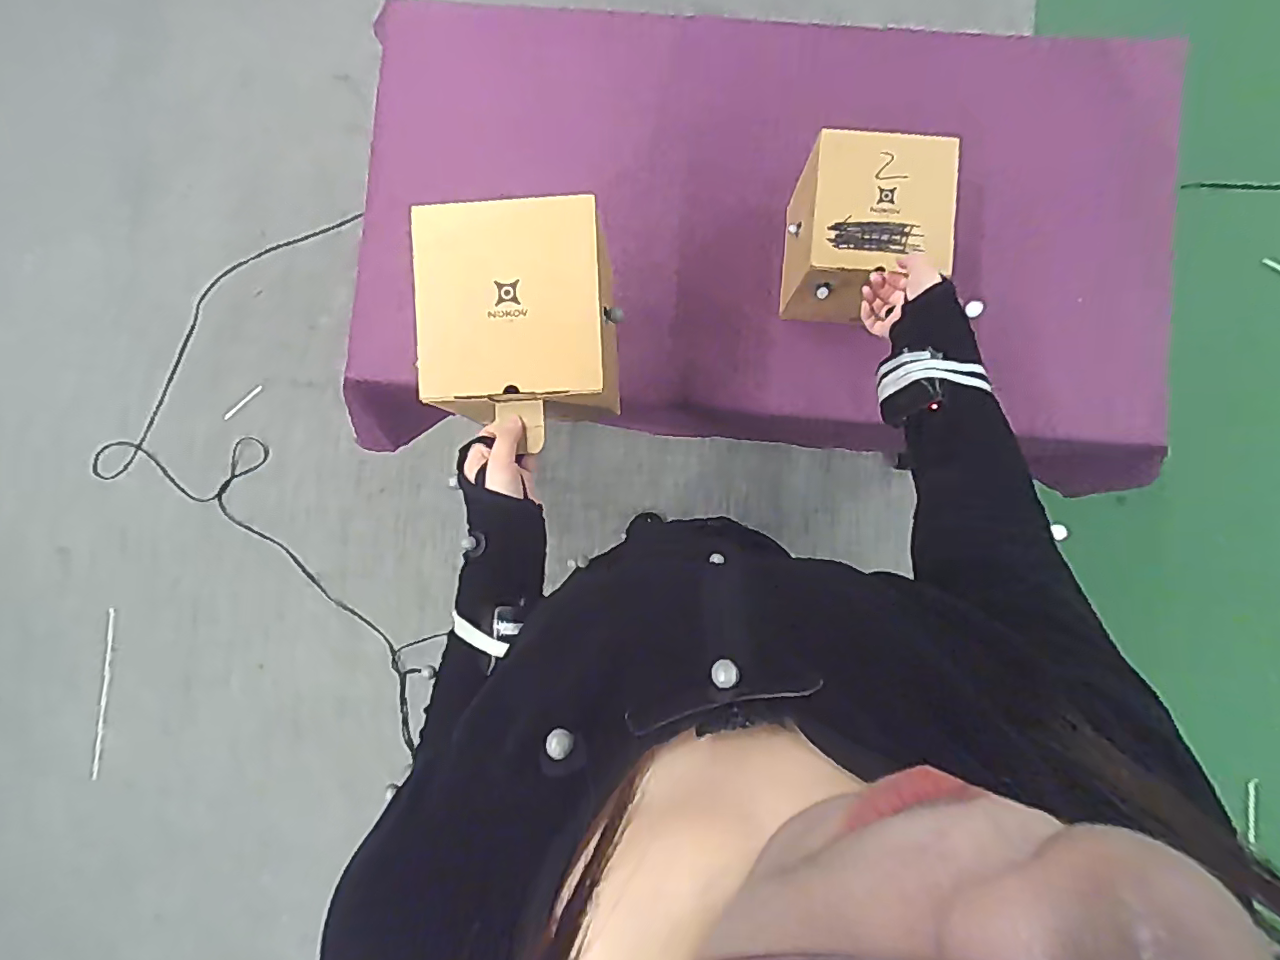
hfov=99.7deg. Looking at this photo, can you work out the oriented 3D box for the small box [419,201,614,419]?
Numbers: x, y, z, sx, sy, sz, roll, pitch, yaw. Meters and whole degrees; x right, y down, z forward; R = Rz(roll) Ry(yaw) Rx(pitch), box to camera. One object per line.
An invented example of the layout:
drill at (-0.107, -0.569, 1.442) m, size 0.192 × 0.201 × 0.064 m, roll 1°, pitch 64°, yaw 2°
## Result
small box at (-0.117, -0.163, 0.571) m, size 0.168 × 0.176 × 0.179 m, roll -3°, pitch 90°, yaw 2°
